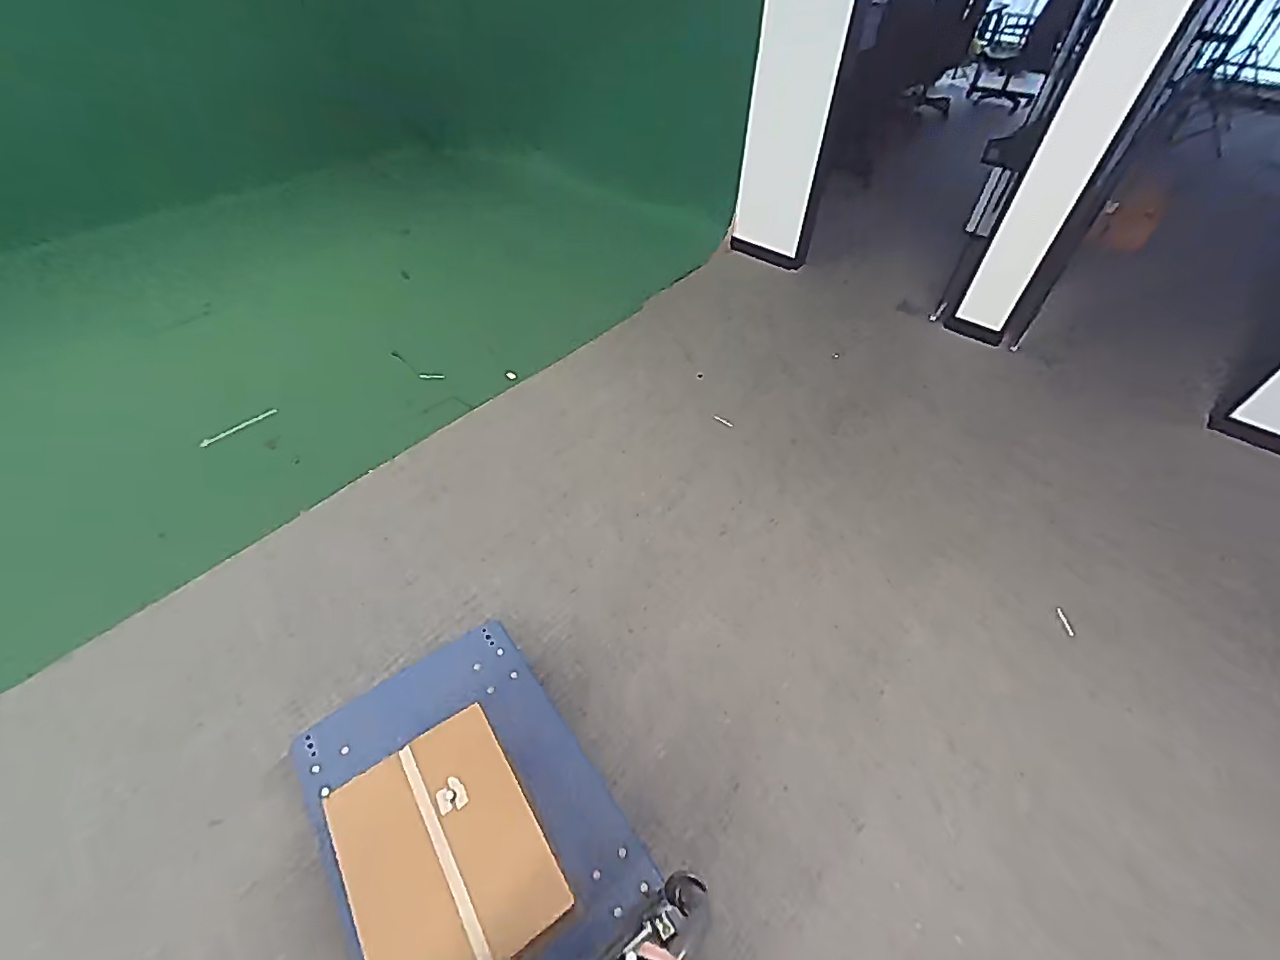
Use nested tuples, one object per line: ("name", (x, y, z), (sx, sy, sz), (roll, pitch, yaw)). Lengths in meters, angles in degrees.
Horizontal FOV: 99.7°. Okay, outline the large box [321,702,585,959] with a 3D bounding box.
("large box", (-0.348, 0.736, 1.054), (0.320, 0.320, 0.408), (-27, 54, -23))
